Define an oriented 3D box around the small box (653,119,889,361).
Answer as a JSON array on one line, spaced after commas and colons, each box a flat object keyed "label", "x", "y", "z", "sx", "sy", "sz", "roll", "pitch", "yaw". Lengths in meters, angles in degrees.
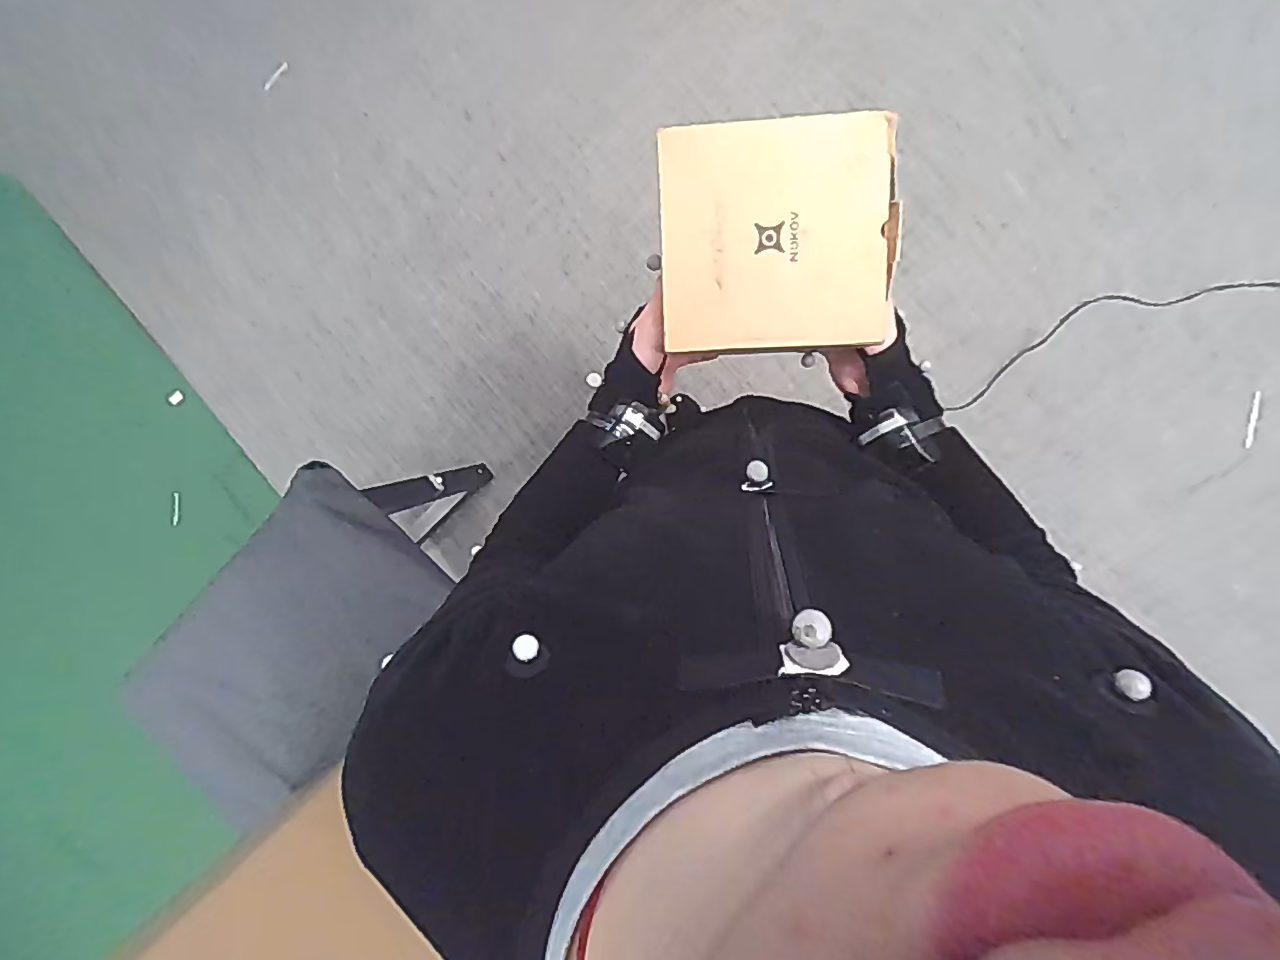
[{"label": "small box", "x": 0.105, "y": -0.197, "z": 0.493, "sx": 0.179, "sy": 0.176, "sz": 0.168, "roll": -2, "pitch": 101, "yaw": 6}]
